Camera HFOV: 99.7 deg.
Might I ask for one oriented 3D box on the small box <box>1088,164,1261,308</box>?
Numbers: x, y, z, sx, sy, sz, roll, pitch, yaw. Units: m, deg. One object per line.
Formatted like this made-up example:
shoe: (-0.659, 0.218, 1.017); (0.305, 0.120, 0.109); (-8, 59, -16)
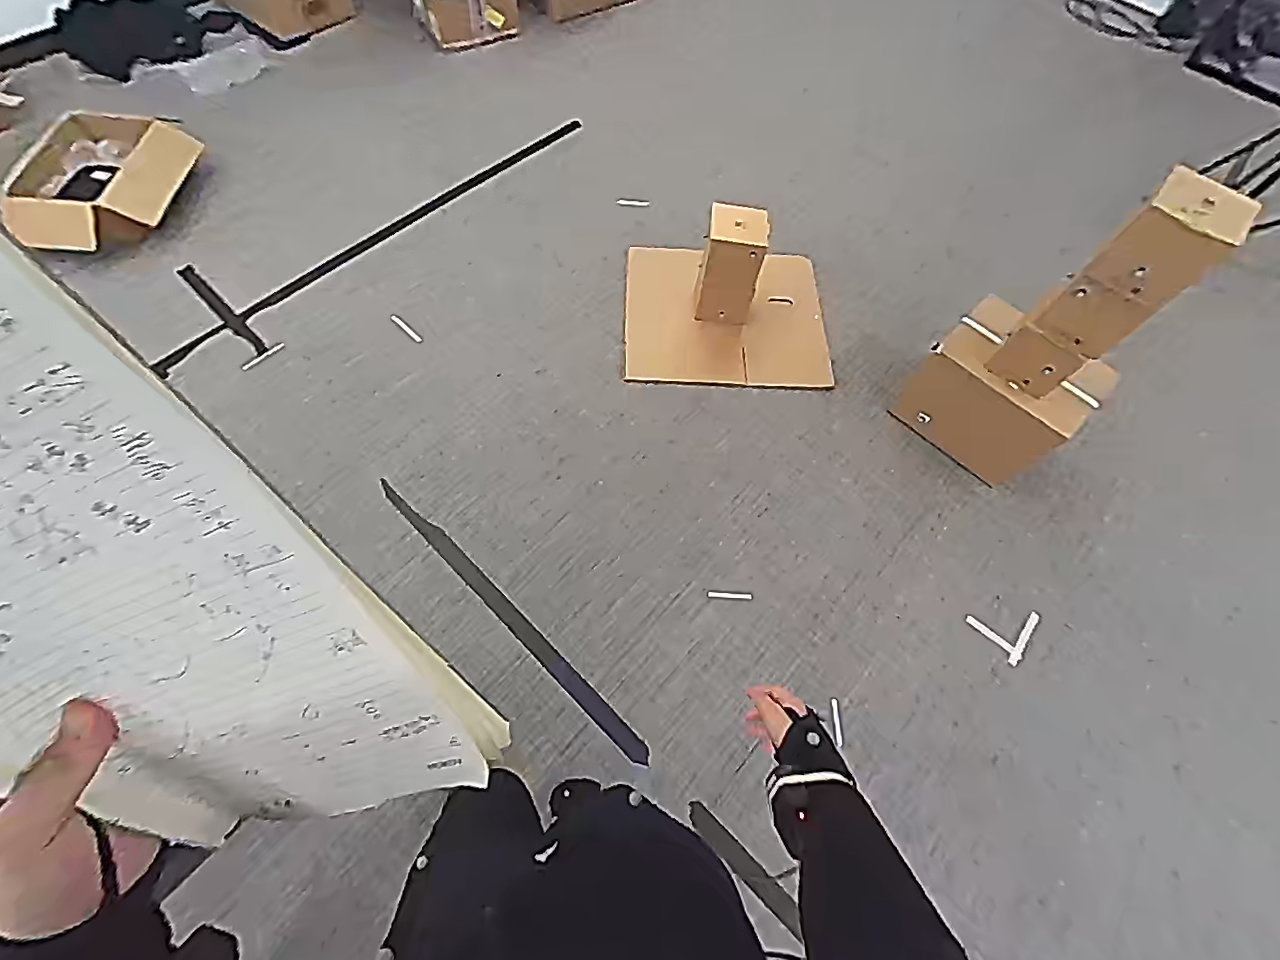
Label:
small box: (1.075, -0.491, 1.101); (0.168, 0.176, 0.179); (39, 68, 15)

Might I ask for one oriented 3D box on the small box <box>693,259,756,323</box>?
small box: (0.283, -0.655, 1.832); (0.179, 0.176, 0.168); (6, 63, -3)

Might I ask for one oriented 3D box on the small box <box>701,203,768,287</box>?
small box: (0.291, -0.727, 1.686); (0.179, 0.176, 0.168); (7, 63, -2)

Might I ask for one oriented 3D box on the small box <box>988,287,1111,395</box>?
small box: (1.048, -0.353, 1.399); (0.168, 0.176, 0.179); (38, 67, 13)
